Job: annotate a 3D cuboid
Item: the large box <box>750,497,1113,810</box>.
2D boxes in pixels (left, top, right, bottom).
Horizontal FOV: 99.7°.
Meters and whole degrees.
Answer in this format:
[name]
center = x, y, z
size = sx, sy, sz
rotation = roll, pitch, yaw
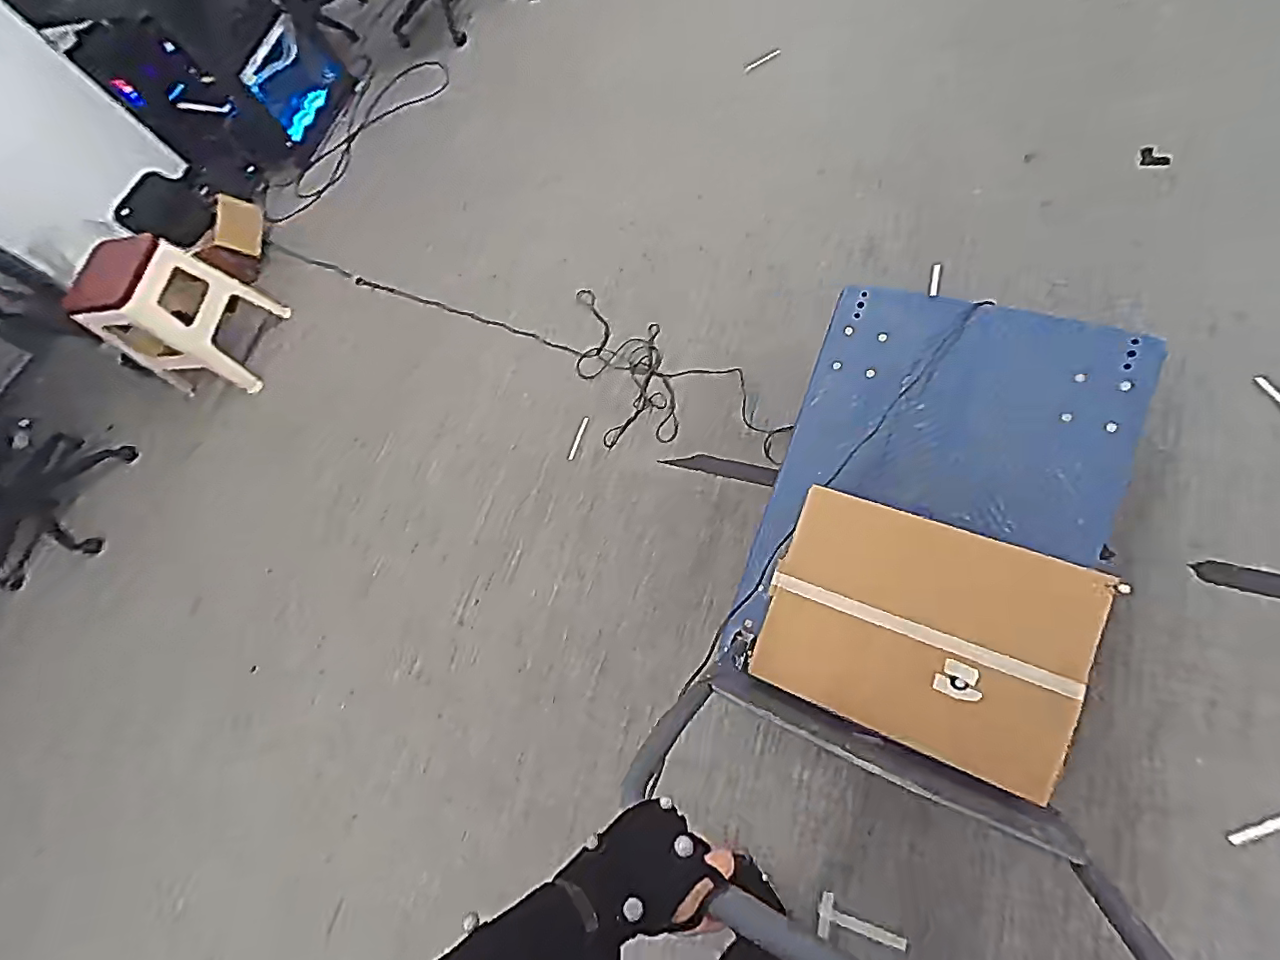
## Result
[large box]
center = 0.435, 0.246, 0.903
size = 0.408, 0.320, 0.320
rotation = 19, 89, 20
